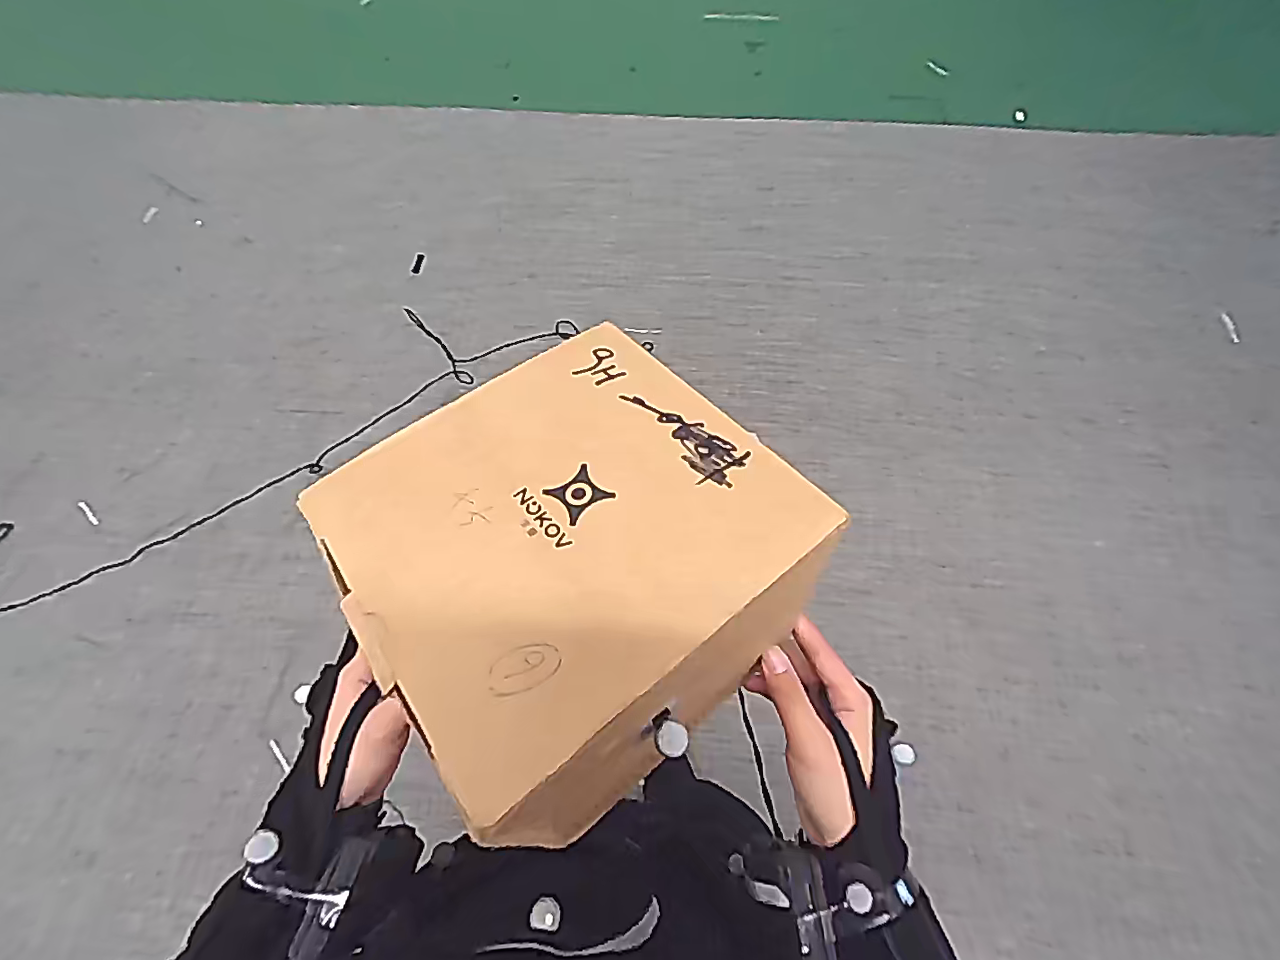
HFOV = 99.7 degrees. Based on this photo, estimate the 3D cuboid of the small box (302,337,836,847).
[{"bbox_3d":[-0.029,0.064,0.293,0.179,0.176,0.168,-35,60,-19],"label":"small box"}]
